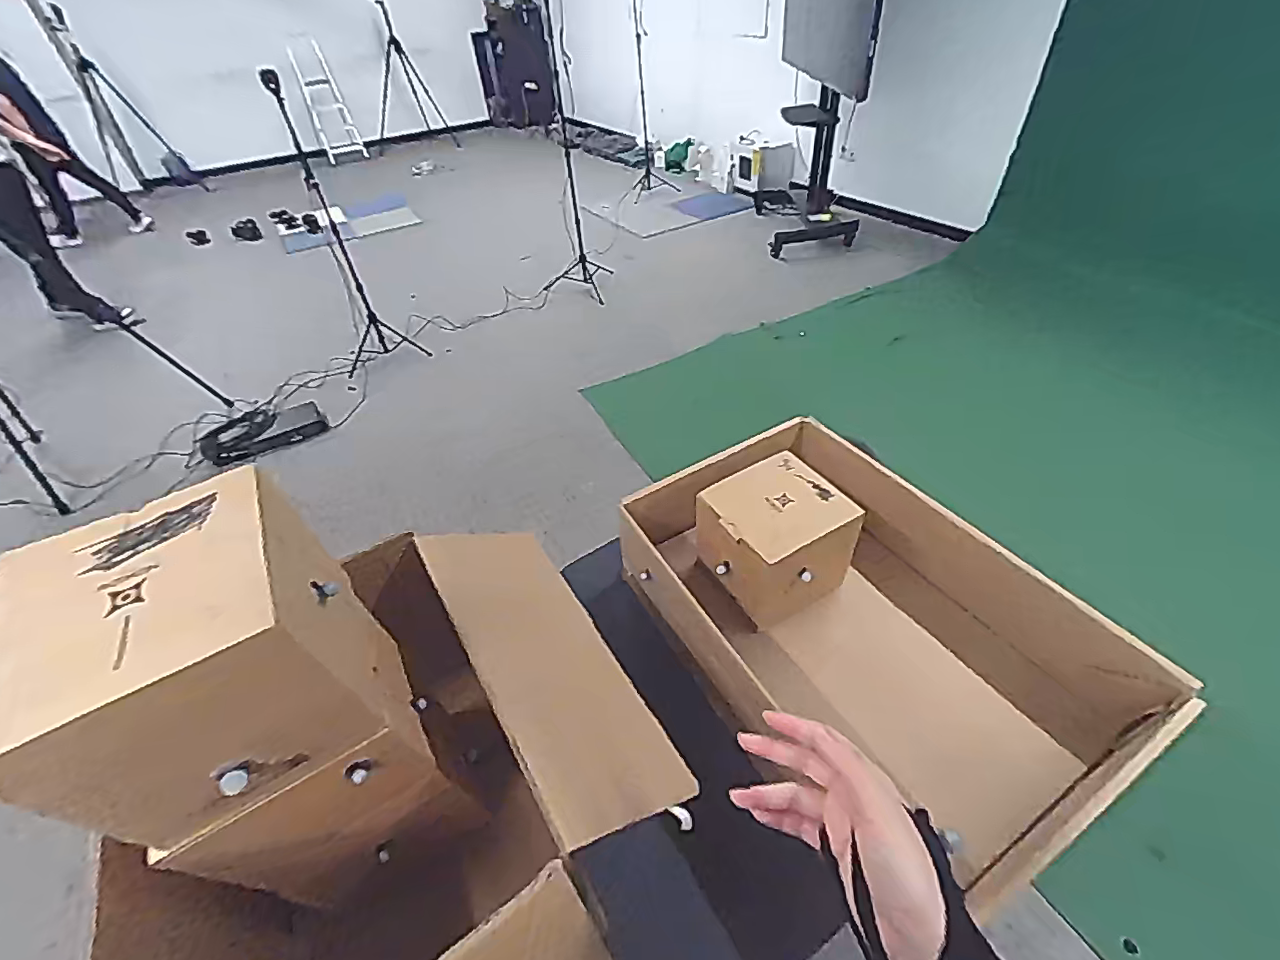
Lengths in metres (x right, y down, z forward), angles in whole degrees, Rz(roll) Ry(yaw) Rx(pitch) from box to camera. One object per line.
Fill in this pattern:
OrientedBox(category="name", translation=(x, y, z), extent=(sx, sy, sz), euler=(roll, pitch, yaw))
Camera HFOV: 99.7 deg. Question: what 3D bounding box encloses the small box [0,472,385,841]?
OrientedBox(category="small box", translation=(-0.323, 0.131, 0.413), extent=(0.168, 0.176, 0.179), euler=(-26, 50, -18))
